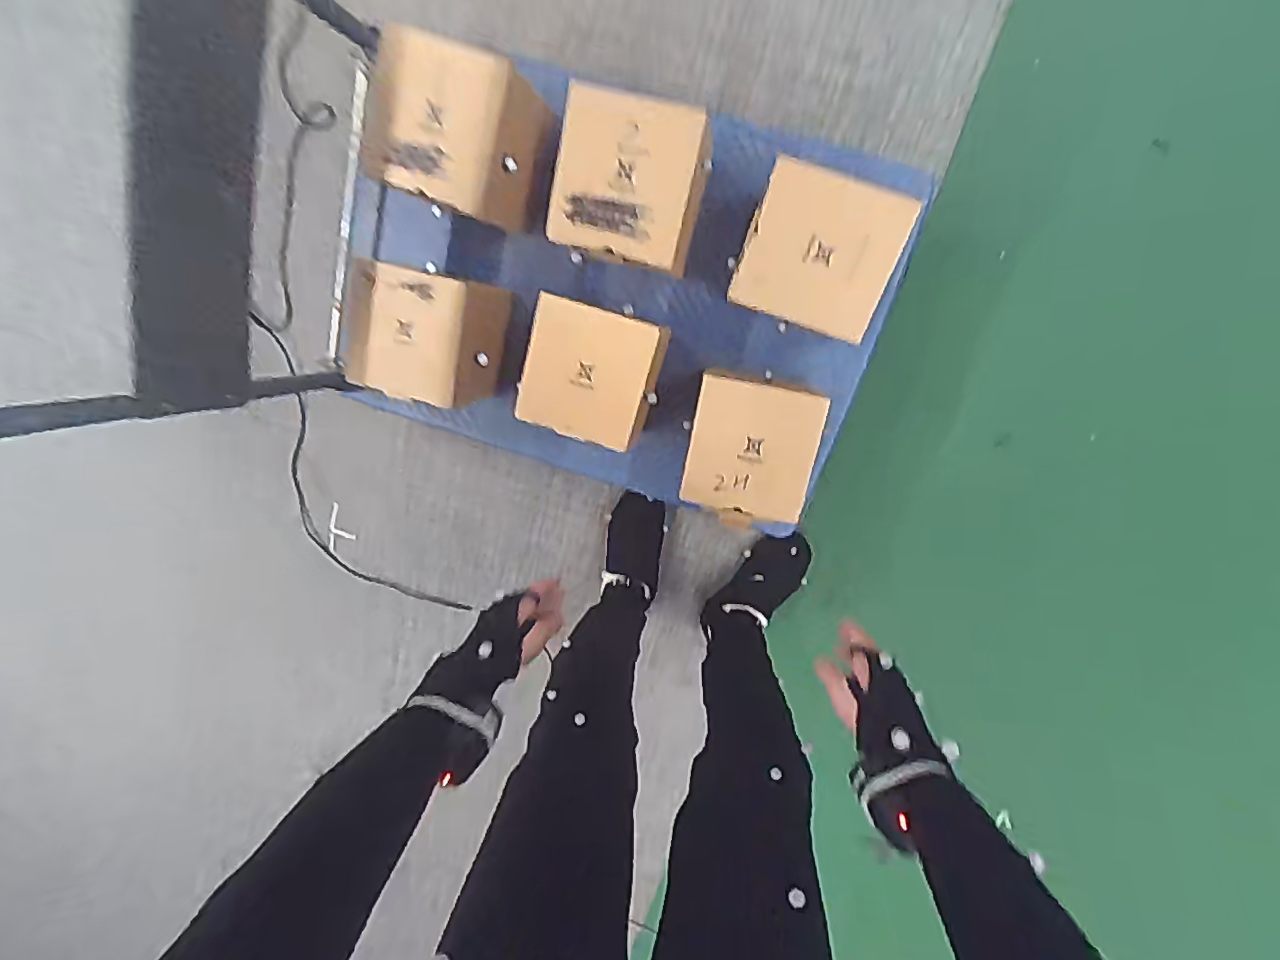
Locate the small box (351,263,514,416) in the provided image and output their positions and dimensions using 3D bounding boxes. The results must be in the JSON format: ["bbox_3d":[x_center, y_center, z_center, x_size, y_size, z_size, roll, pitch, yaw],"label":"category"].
[{"bbox_3d":[-0.308,-0.214,0.825,0.168,0.176,0.179,16,108,4],"label":"small box"}]

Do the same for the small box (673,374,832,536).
[{"bbox_3d":[0.159,-0.049,0.794,0.168,0.176,0.179,19,108,6],"label":"small box"}]

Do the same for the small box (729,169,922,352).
[{"bbox_3d":[0.230,-0.280,0.723,0.179,0.176,0.168,21,108,3],"label":"small box"}]

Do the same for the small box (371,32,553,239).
[{"bbox_3d":[-0.235,-0.454,0.747,0.168,0.176,0.179,20,107,3],"label":"small box"}]
